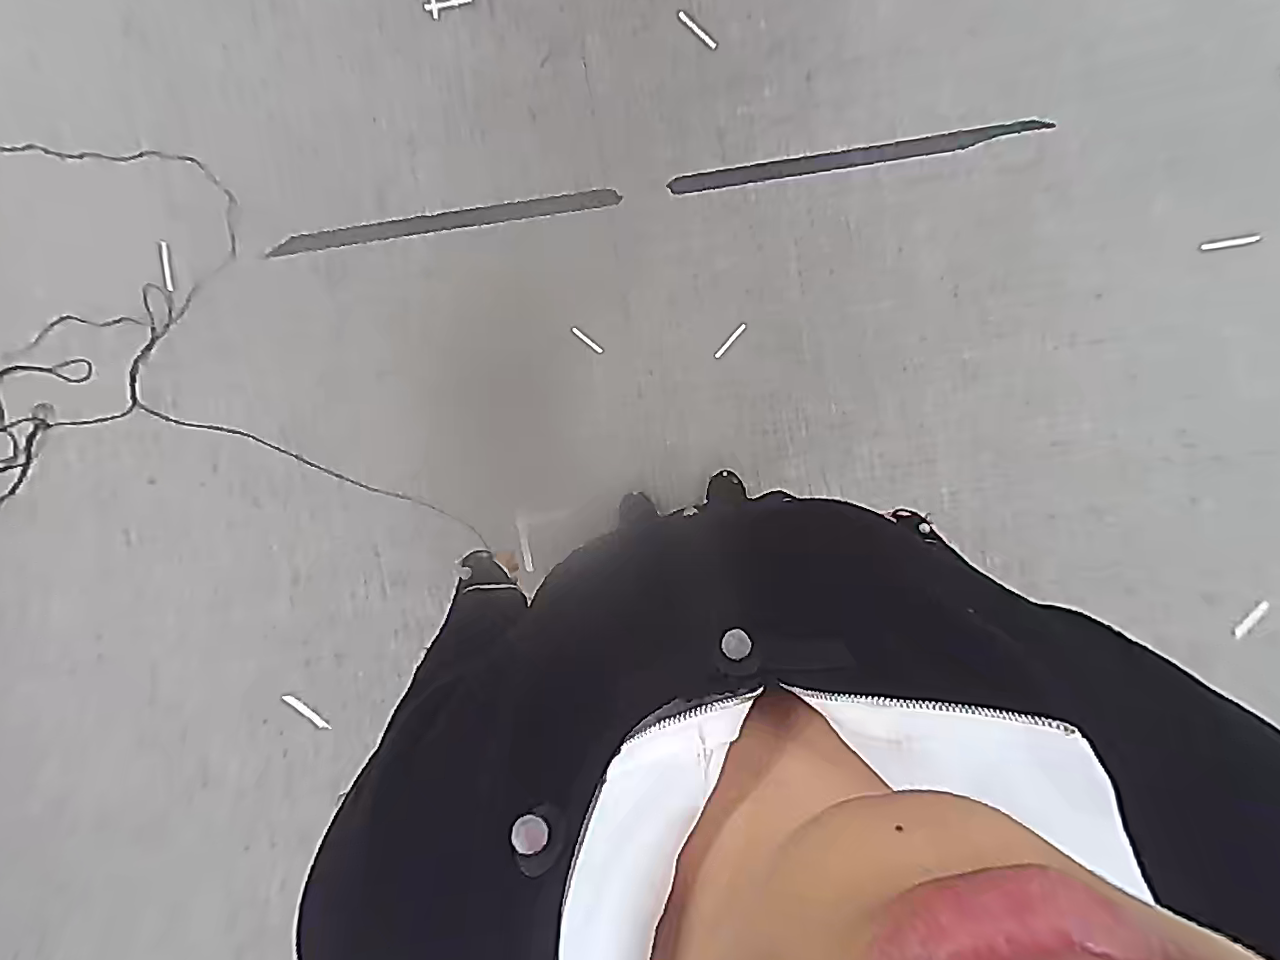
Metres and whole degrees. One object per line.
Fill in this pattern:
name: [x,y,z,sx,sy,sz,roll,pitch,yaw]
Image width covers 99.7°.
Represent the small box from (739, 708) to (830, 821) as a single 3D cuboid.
small box: [0.345,0.684,1.314,0.168,0.176,0.179,-10,90,2]
